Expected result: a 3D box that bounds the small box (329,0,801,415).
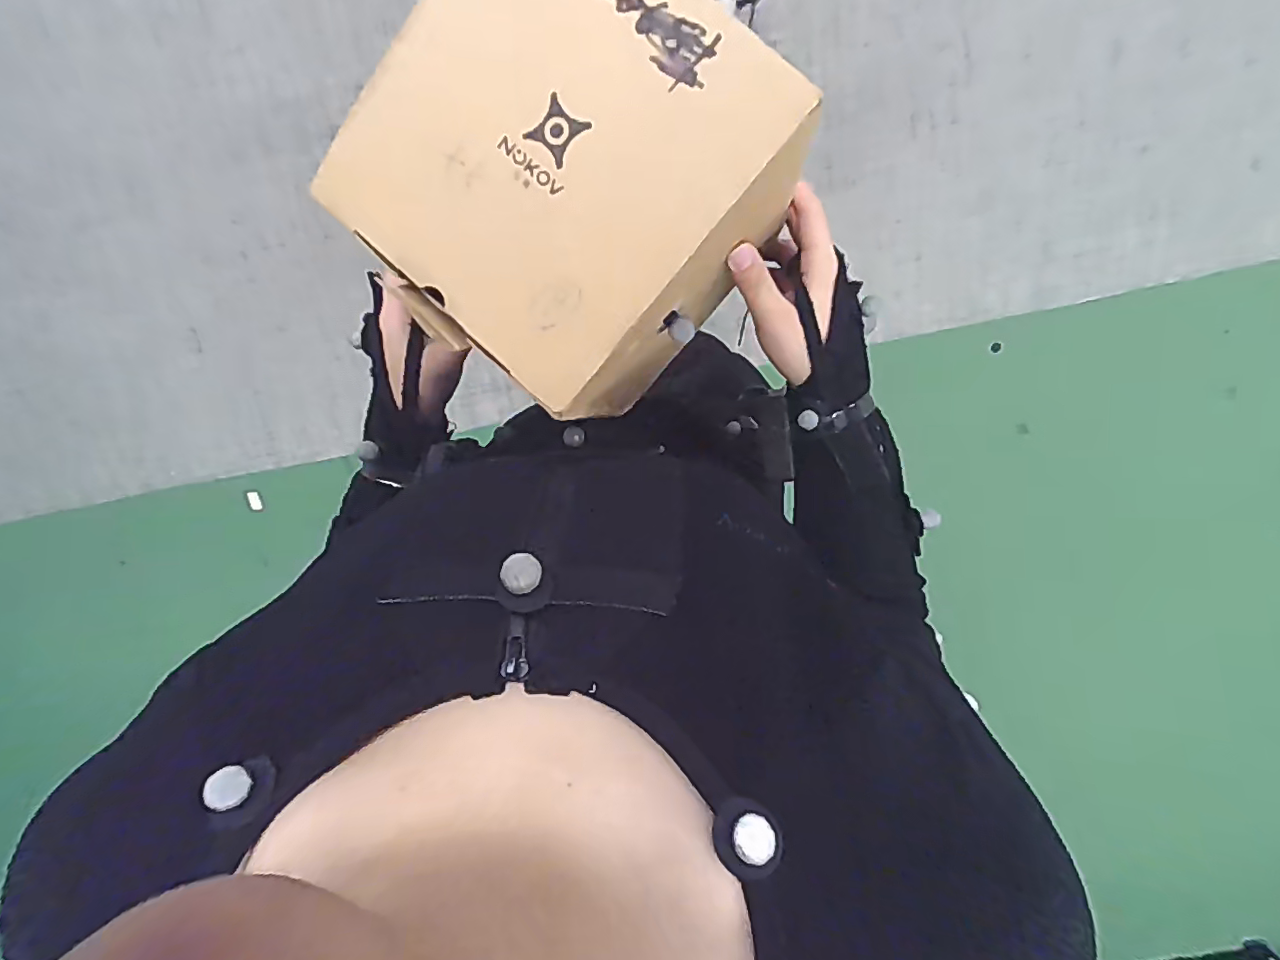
[{"bbox_3d":[-0.029,-0.156,0.327,0.168,0.176,0.179,42,102,2],"label":"small box"}]
